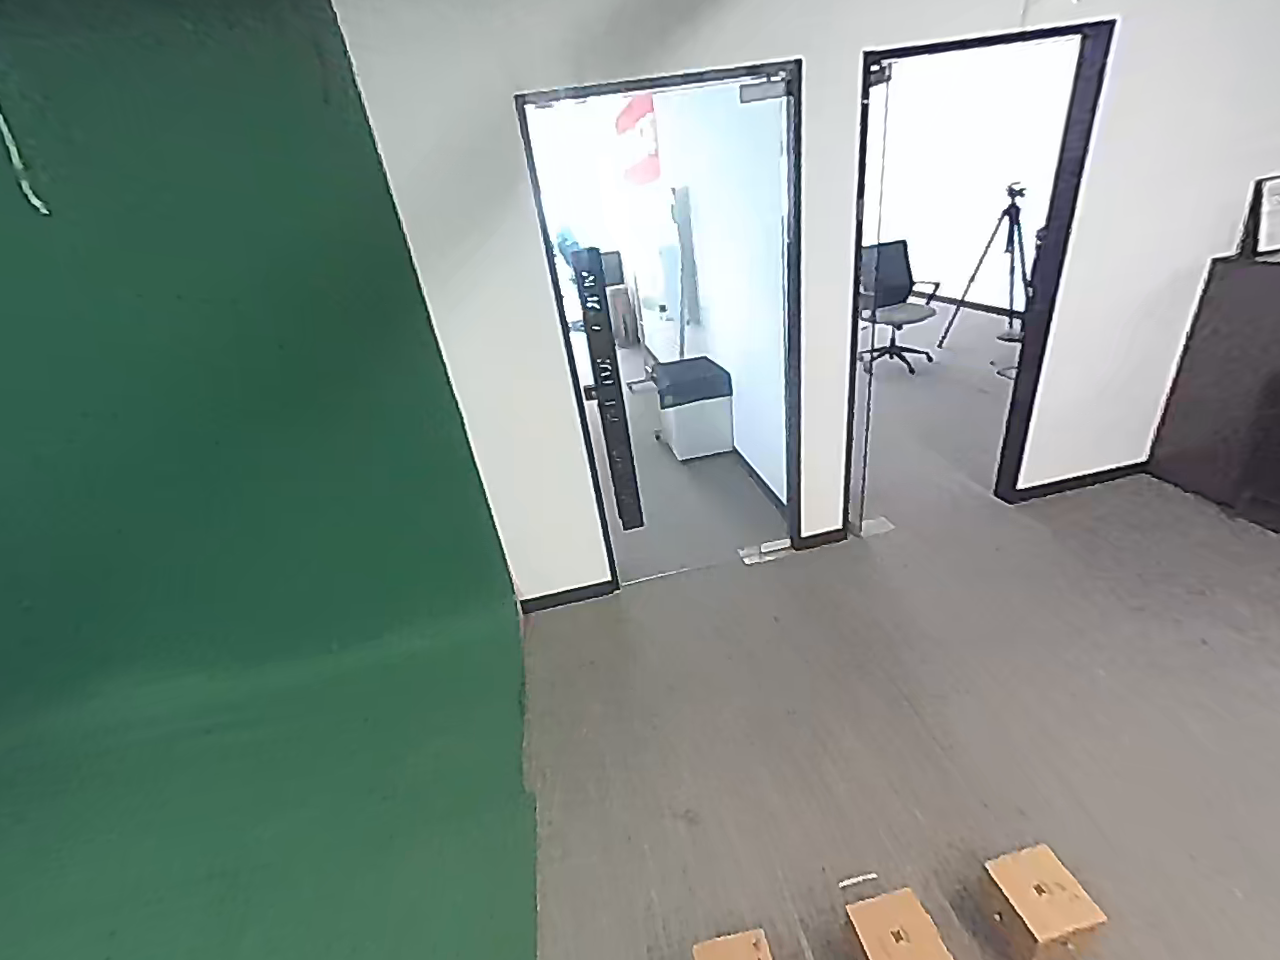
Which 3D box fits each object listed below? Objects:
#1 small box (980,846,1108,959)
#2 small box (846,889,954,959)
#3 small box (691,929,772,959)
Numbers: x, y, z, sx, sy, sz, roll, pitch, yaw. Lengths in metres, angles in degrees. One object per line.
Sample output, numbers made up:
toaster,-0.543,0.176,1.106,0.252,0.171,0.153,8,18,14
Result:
small box,0.942,1.021,1.282,0.179,0.176,0.168,-11,28,-6
small box,0.594,1.094,1.244,0.179,0.176,0.168,-11,26,-5
small box,0.224,1.165,1.216,0.179,0.176,0.168,-10,27,-2
